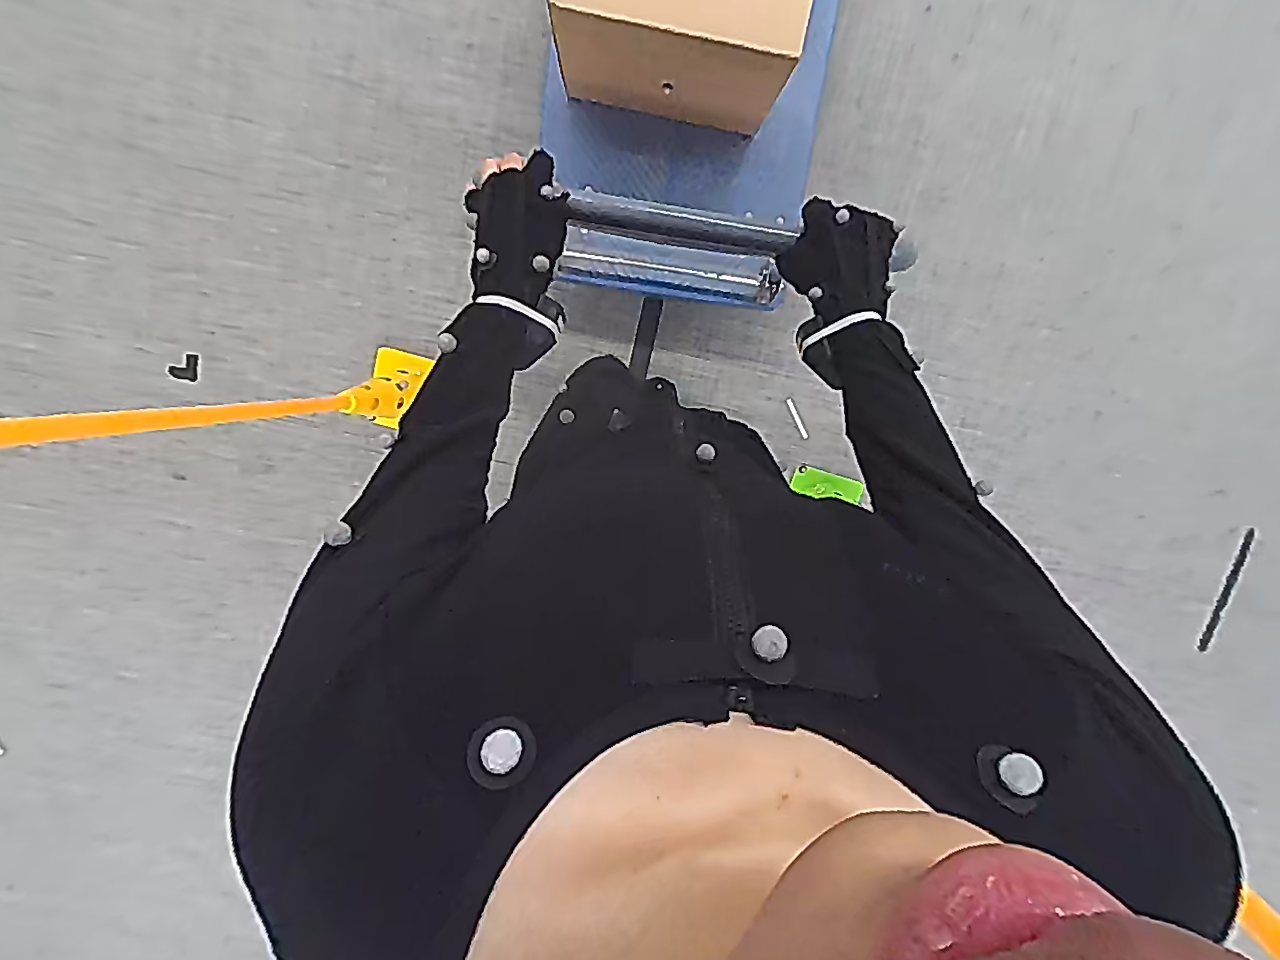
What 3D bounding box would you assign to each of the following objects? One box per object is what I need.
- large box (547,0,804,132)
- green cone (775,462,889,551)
[{"bbox_3d":[0.071,-0.880,0.970,0.408,0.320,0.320,9,102,-3],"label":"large box"},{"bbox_3d":[0.501,0.100,1.333,0.202,0.368,0.200,15,101,-6],"label":"green cone"}]
